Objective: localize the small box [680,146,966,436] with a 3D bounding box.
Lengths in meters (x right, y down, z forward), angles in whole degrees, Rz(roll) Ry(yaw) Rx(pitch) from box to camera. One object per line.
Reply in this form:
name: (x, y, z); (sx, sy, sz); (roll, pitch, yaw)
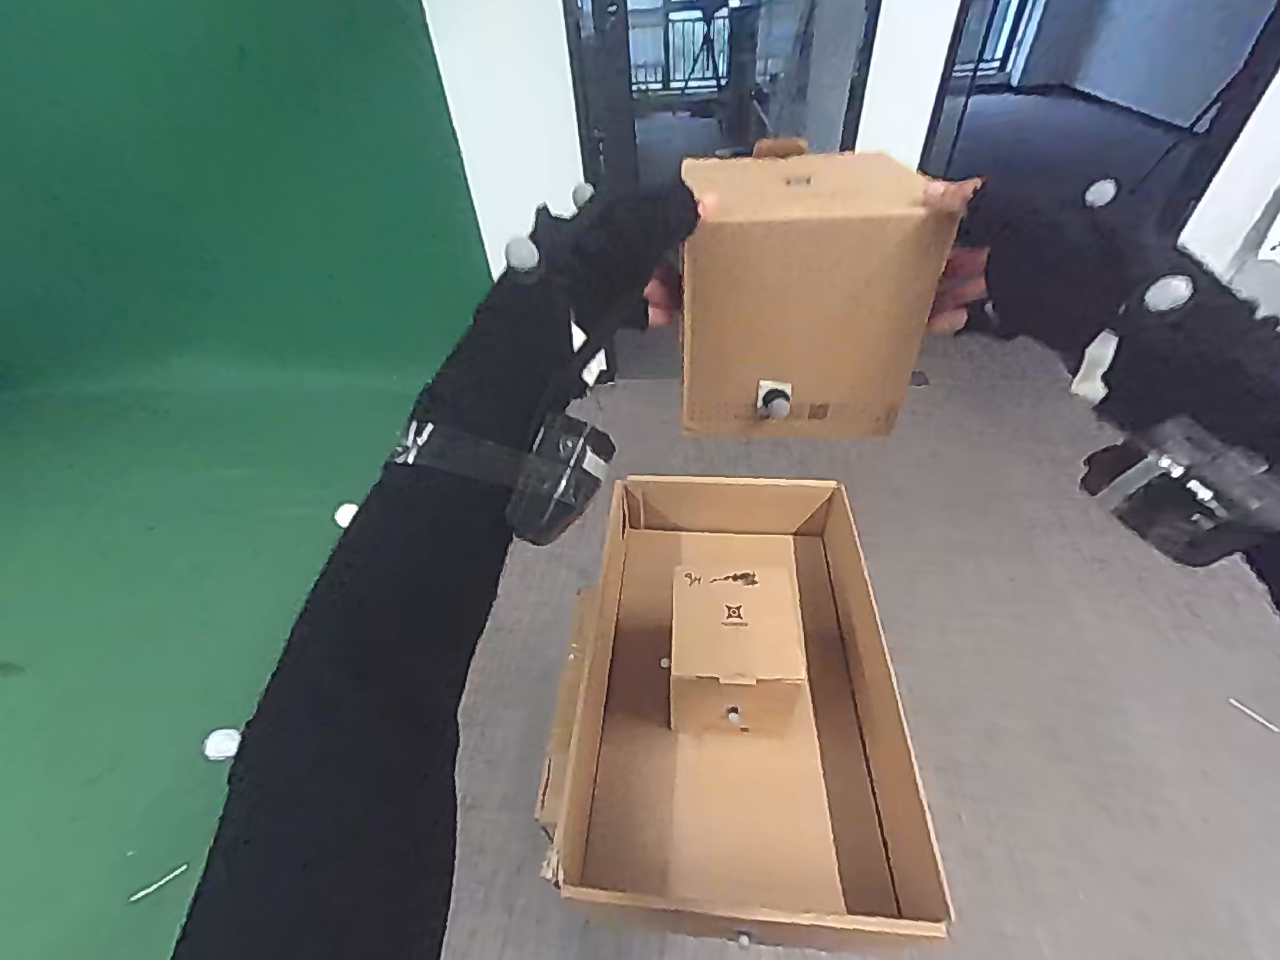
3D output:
small box: (0.117, -0.154, 0.436); (0.168, 0.176, 0.179); (0, 42, 3)
